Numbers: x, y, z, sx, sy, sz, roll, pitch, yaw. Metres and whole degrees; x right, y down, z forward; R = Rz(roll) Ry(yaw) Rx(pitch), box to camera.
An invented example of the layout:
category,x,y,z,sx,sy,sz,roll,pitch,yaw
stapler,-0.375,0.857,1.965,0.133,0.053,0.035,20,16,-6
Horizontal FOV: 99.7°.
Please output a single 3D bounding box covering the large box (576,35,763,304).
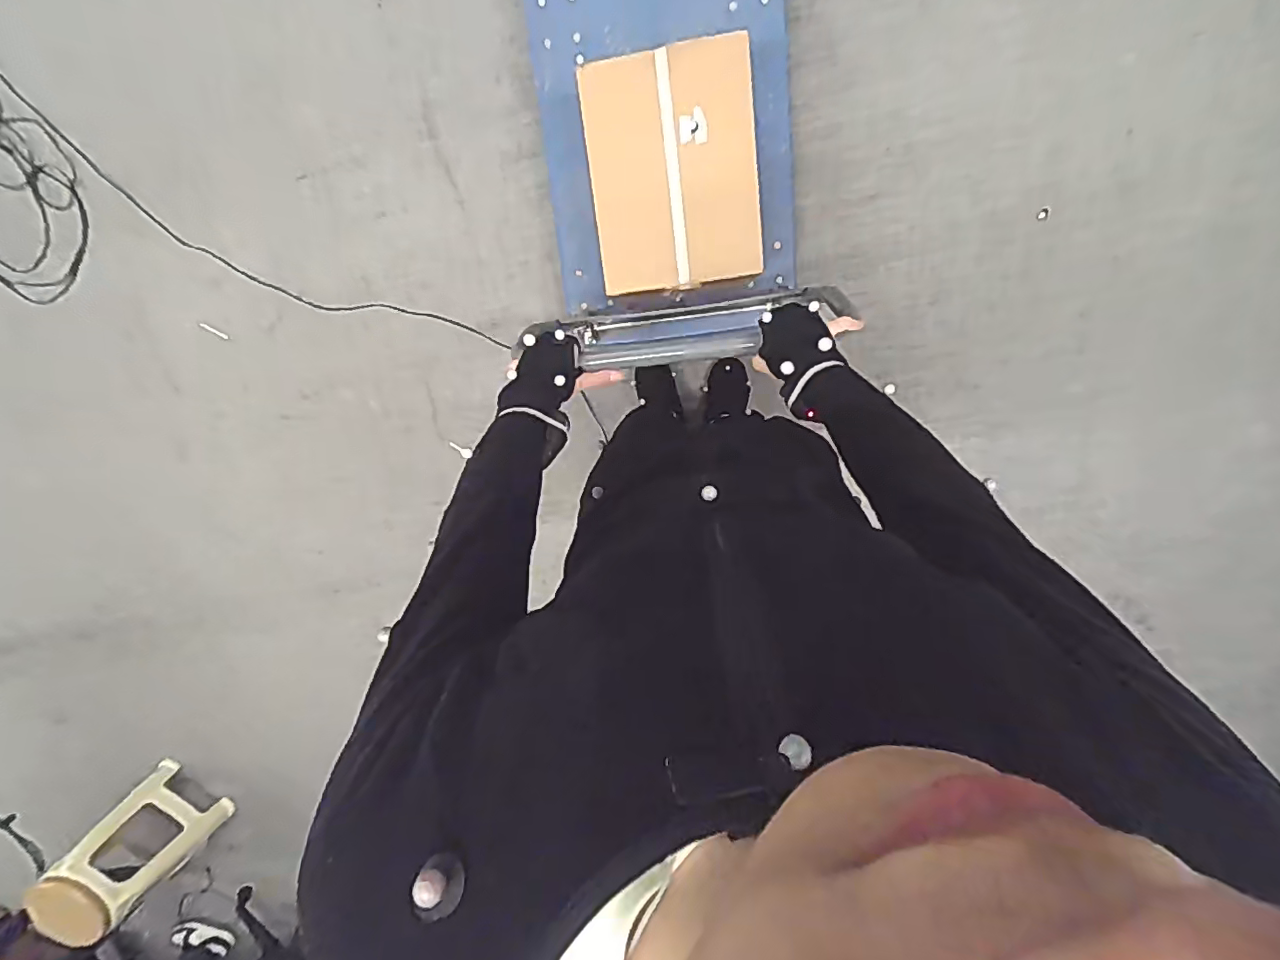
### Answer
category,x,y,z,sx,sy,sz,roll,pitch,yaw
large box,0.077,-0.614,1.159,0.320,0.320,0.408,-6,104,7
